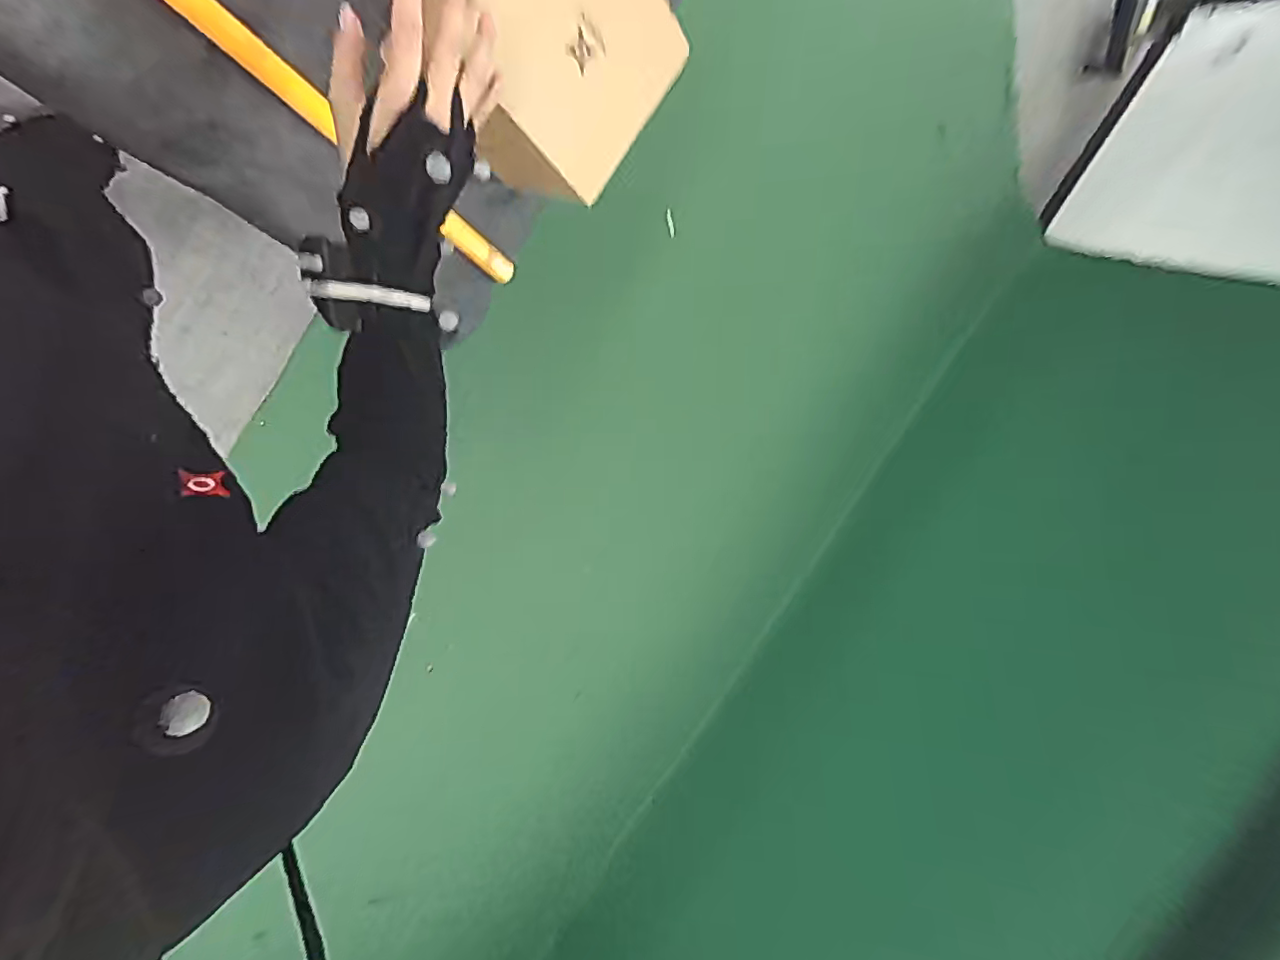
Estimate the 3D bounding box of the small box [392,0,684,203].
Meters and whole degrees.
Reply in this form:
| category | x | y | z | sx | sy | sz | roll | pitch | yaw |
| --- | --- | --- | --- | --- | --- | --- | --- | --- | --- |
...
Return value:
| category | x | y | z | sx | sy | sz | roll | pitch | yaw |
| --- | --- | --- | --- | --- | --- | --- | --- | --- | --- |
| small box | -0.099 | -0.390 | 0.496 | 0.168 | 0.176 | 0.179 | 31 | 92 | -49 |
